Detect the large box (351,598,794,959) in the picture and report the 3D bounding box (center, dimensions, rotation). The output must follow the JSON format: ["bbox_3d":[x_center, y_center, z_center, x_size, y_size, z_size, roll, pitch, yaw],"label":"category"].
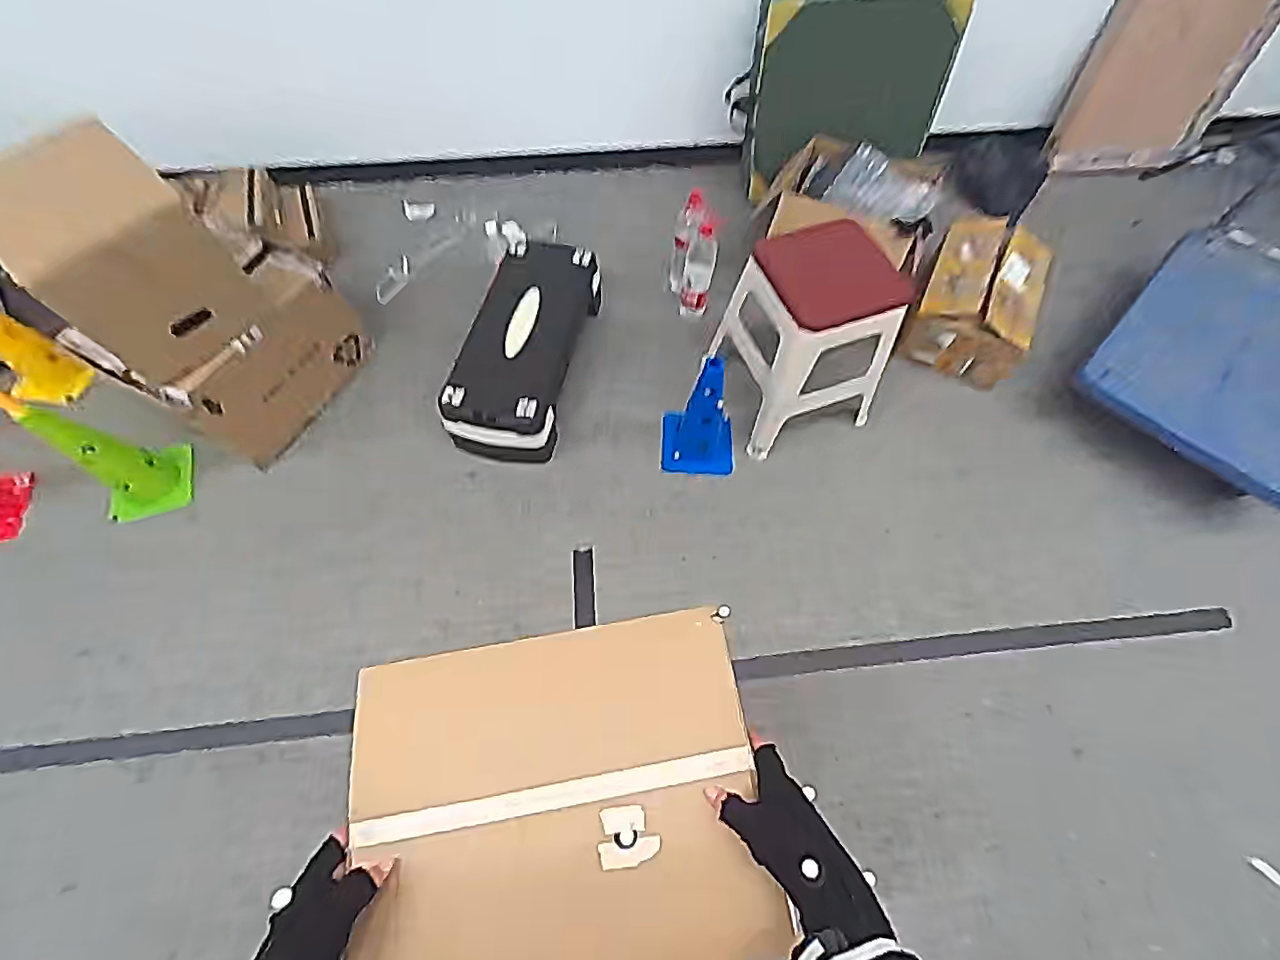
[{"bbox_3d":[-0.077,0.369,0.670,0.408,0.320,0.320,-9,64,-3],"label":"large box"}]
